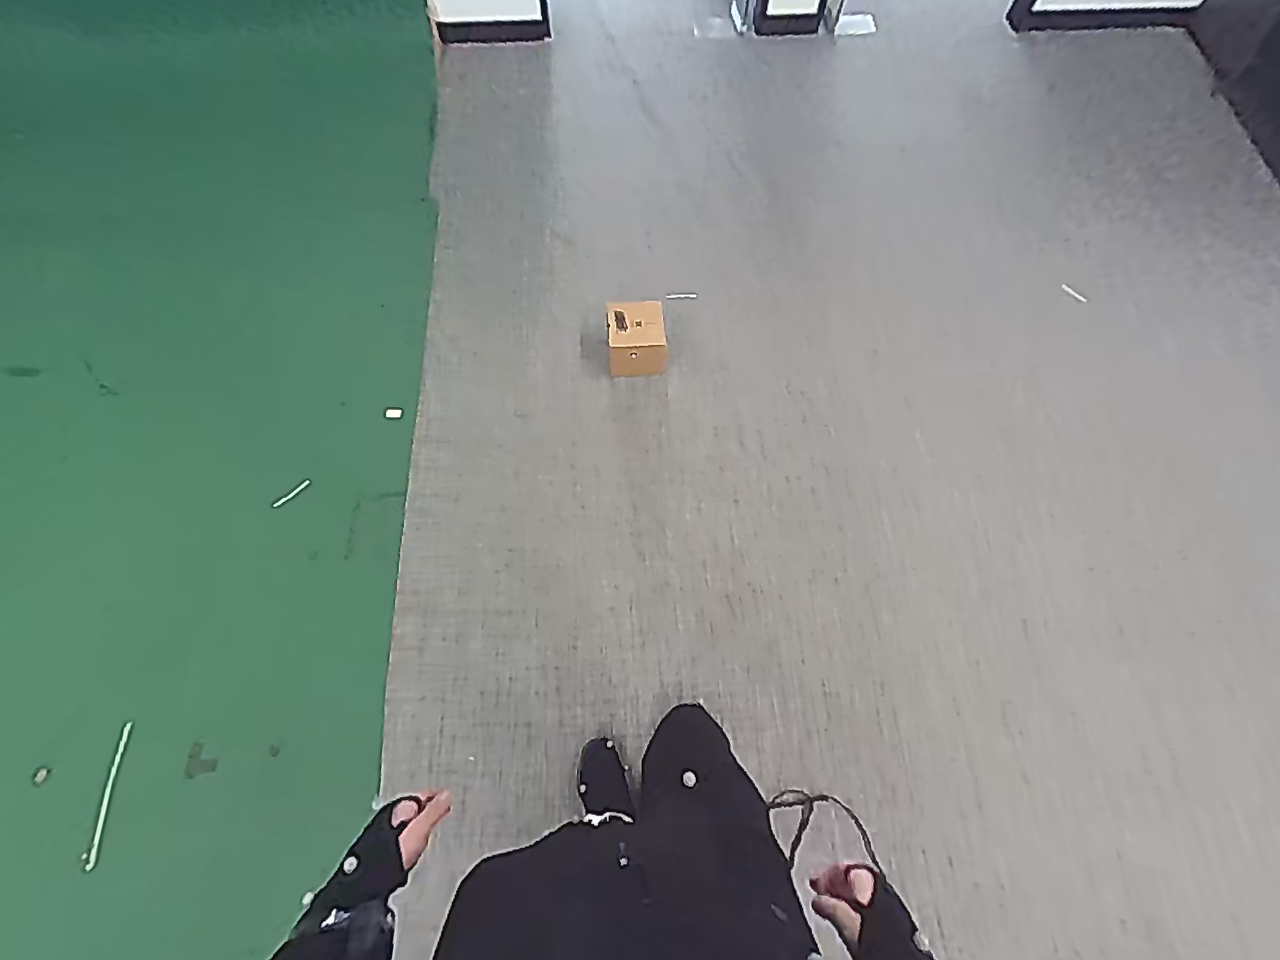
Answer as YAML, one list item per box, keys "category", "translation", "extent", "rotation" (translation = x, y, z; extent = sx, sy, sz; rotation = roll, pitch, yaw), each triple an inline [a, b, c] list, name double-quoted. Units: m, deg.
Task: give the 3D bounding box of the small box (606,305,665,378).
- category: "small box"
  translation: [-0.016, -0.441, 1.745]
  extent: [0.179, 0.176, 0.168]
  rotation: [-3, 69, -4]
